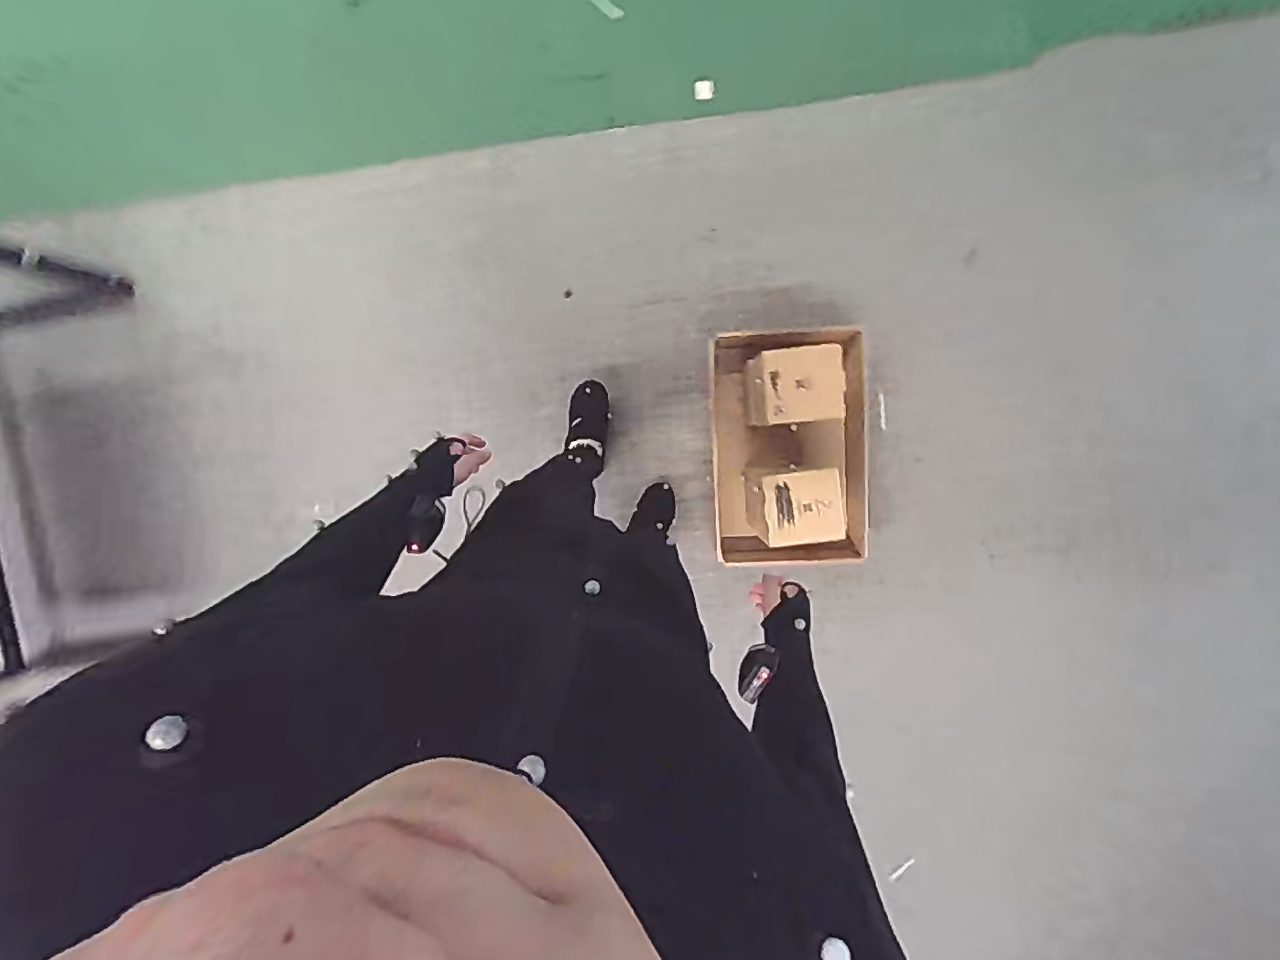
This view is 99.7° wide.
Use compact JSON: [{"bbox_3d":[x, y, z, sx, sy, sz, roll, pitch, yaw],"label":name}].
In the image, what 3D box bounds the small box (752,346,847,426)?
[{"bbox_3d":[0.370,-0.216,1.274,0.179,0.176,0.168,-4,93,2],"label":"small box"}]
